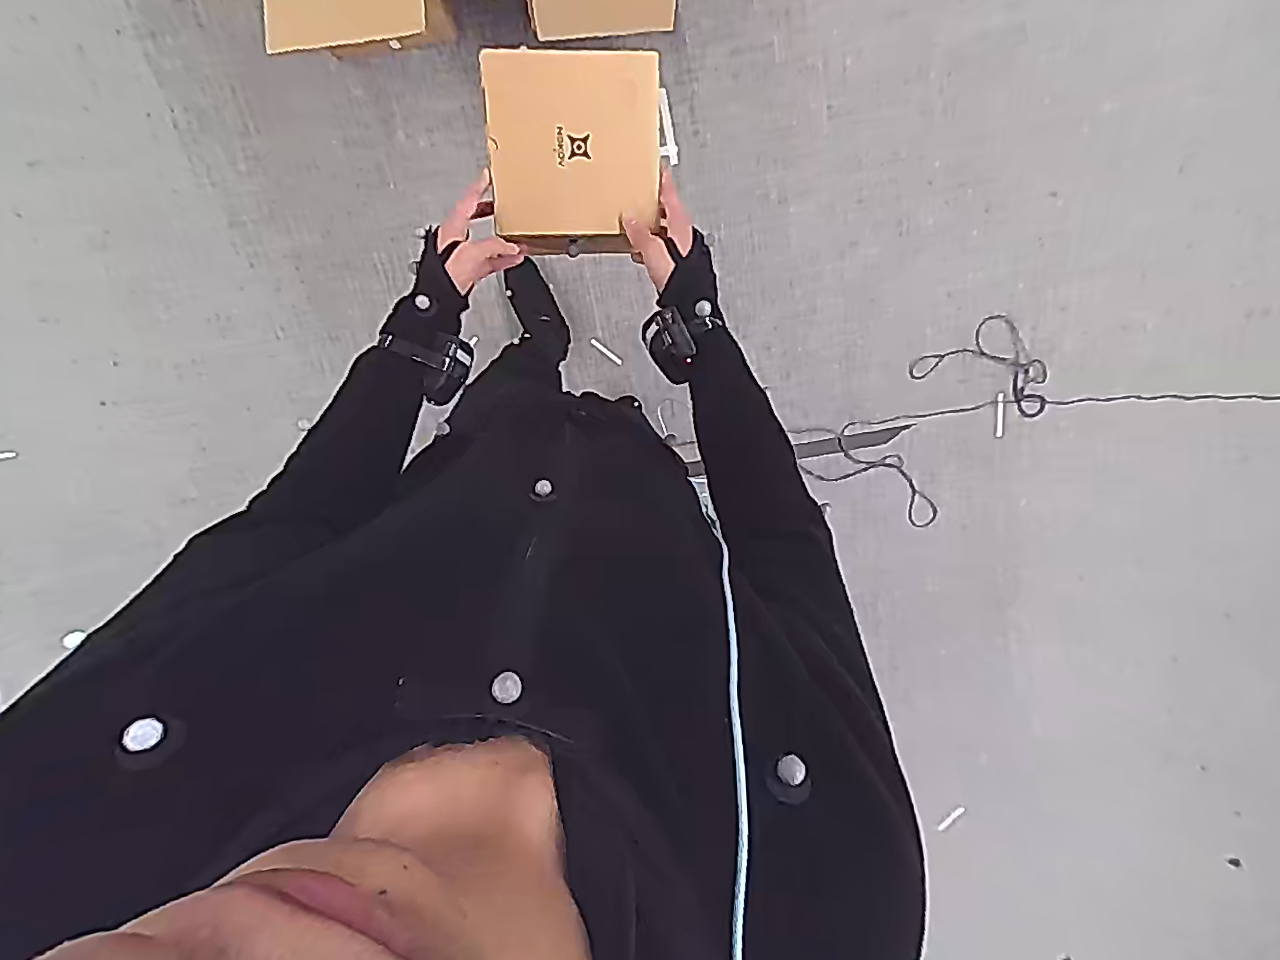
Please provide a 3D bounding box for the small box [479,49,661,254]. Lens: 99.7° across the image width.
[{"bbox_3d":[-0.072,-0.356,0.616,0.179,0.176,0.168,-2,107,-3],"label":"small box"}]
